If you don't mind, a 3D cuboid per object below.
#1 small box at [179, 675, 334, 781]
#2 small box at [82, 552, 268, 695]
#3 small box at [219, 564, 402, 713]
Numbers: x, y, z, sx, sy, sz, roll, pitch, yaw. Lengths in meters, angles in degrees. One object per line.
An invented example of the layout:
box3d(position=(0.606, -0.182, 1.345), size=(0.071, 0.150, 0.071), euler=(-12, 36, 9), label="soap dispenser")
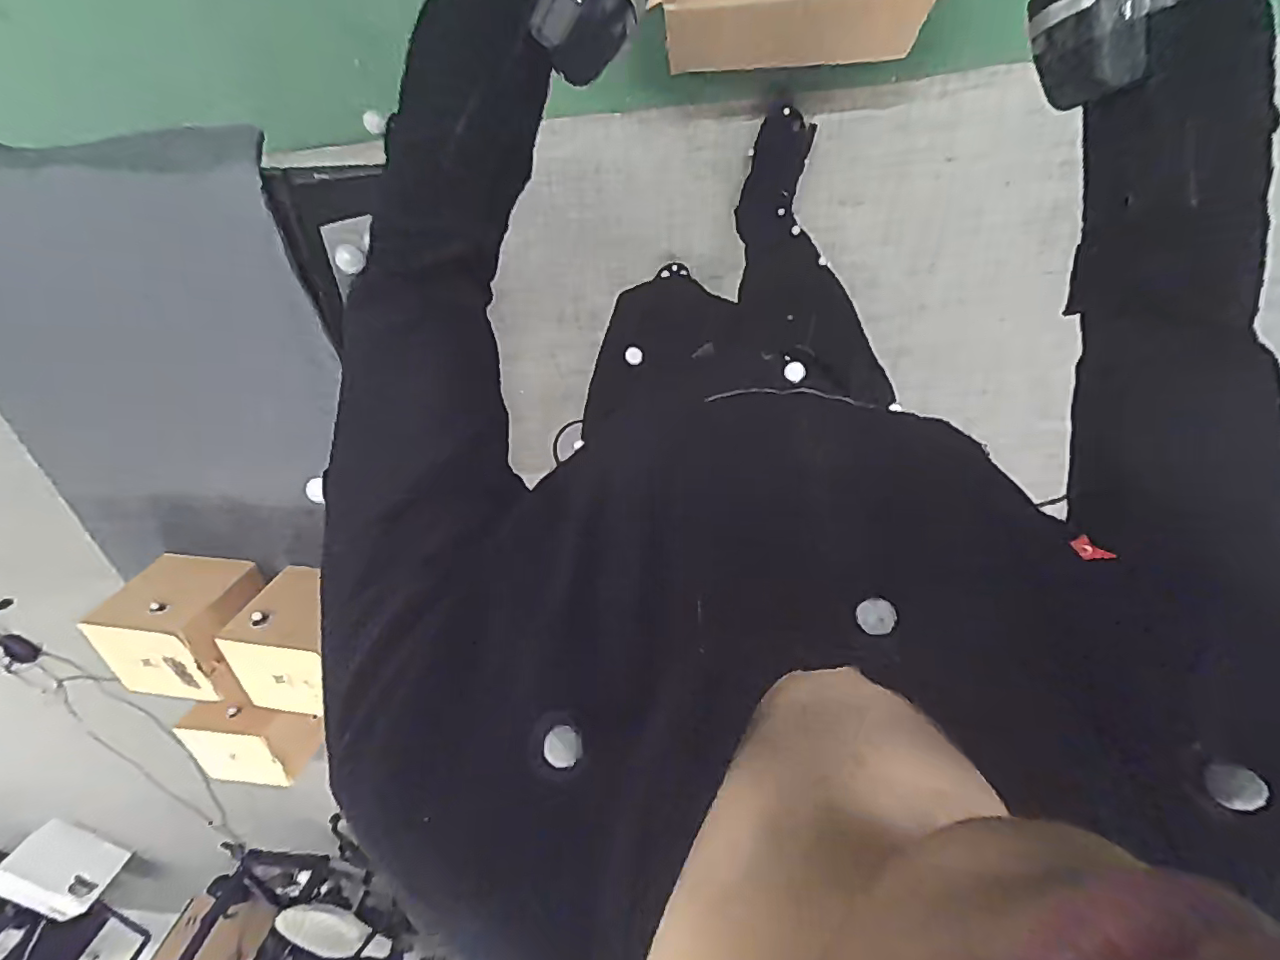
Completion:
box3d(position=(-0.742, 0.465, 1.078), size=(0.179, 0.176, 0.168), euler=(2, 123, 6), label="small box")
box3d(position=(-0.767, 0.242, 0.934), size=(0.179, 0.176, 0.168), euler=(4, 124, 5), label="small box")
box3d(position=(-0.539, 0.261, 0.912), size=(0.179, 0.176, 0.168), euler=(4, 124, 6), label="small box")
